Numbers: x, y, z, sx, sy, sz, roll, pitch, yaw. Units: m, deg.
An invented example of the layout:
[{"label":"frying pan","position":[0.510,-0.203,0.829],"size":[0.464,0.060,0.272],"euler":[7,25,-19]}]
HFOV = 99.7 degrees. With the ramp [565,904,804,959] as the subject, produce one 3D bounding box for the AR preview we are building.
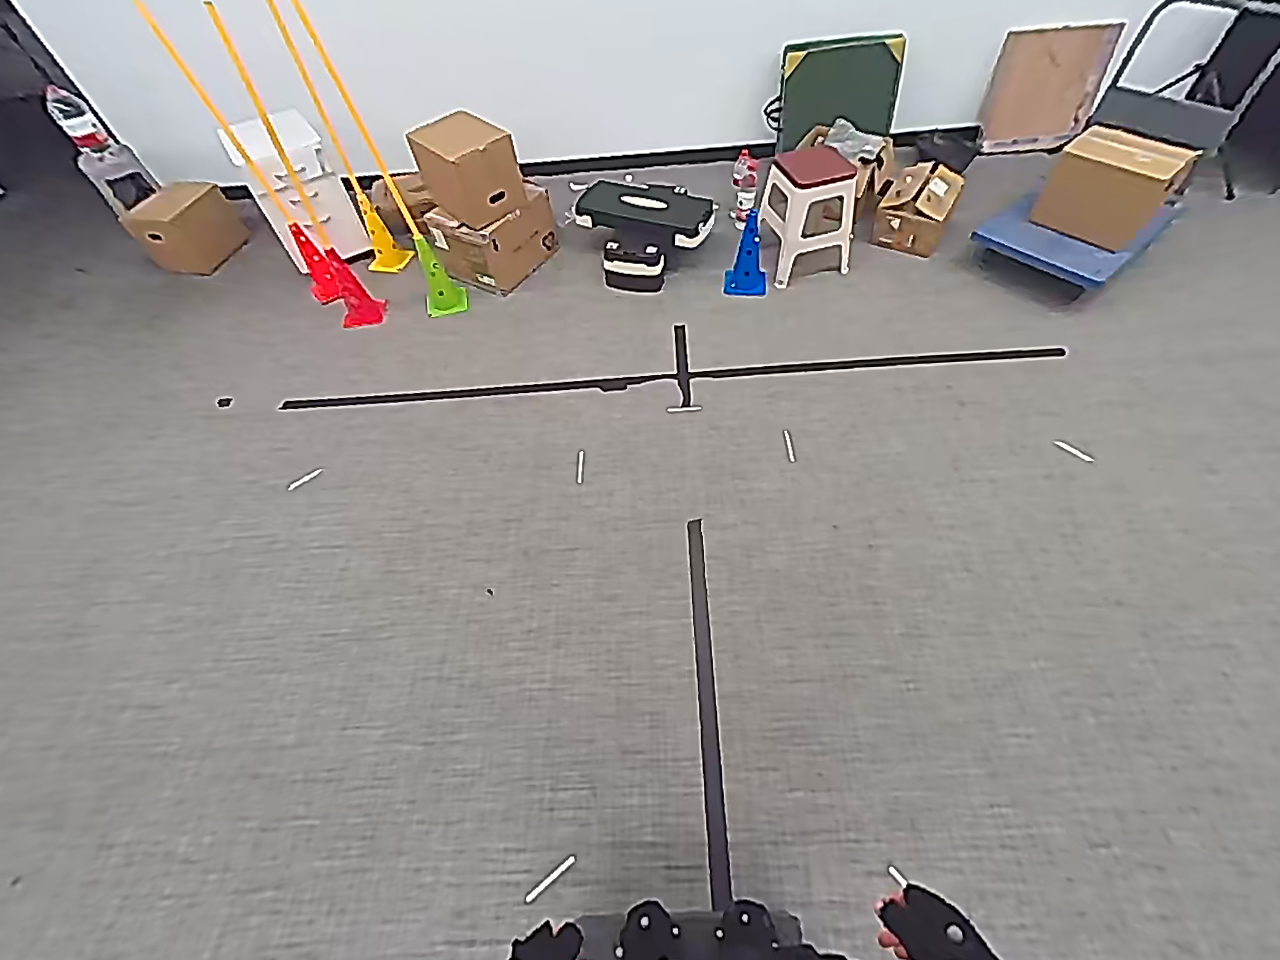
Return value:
[{"label":"ramp","position":[0.109,1.354,0.923],"size":[0.509,0.206,0.991],"euler":[-4,54,0]}]
